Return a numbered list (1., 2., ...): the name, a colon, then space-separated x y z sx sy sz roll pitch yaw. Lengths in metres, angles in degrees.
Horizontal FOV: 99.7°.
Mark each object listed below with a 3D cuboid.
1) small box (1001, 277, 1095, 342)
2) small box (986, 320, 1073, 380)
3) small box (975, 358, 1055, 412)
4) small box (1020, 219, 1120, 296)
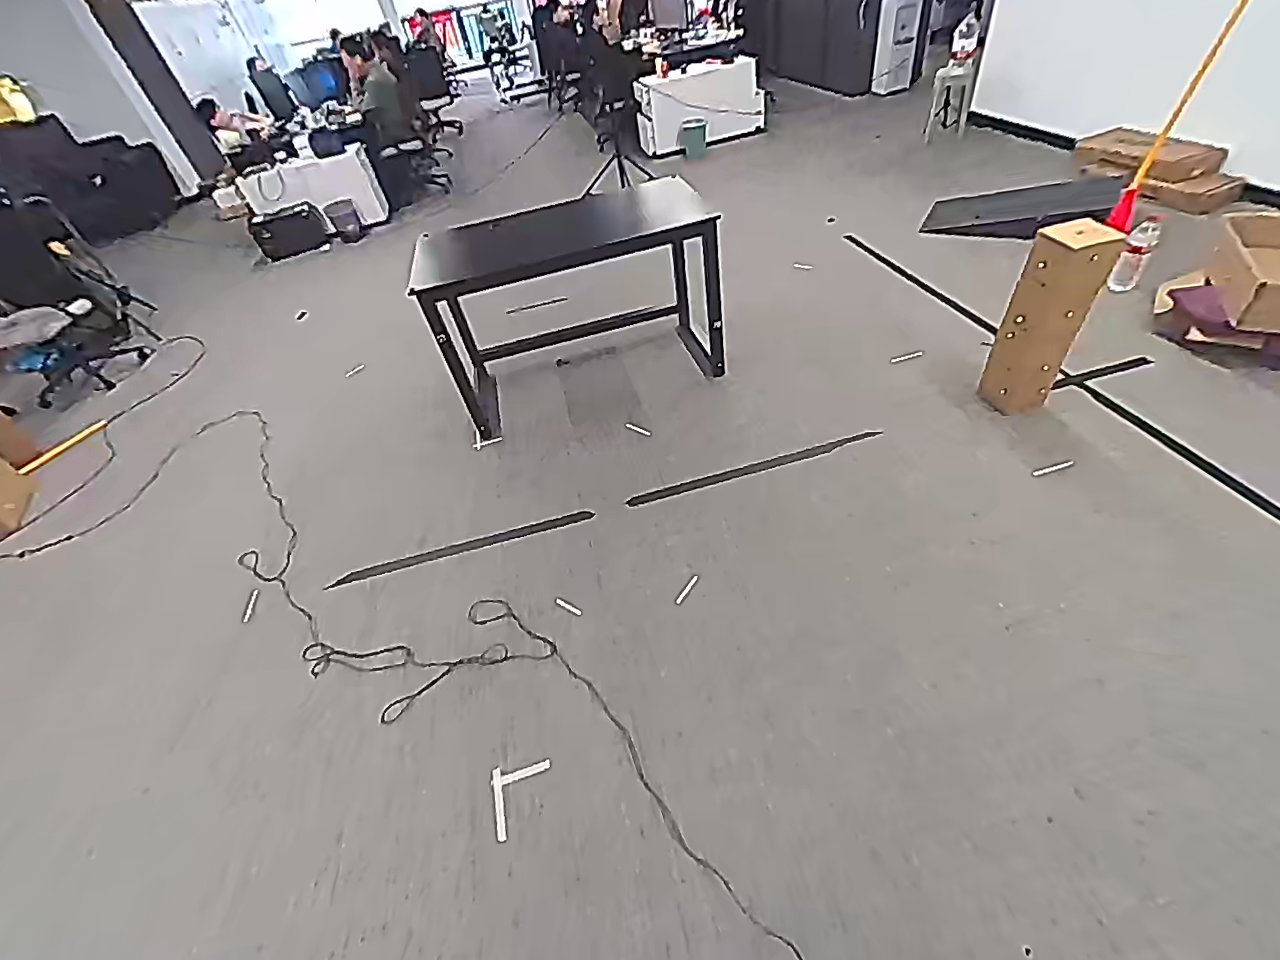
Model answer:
1. small box: 1.409 -0.610 1.882 0.179 0.176 0.168 -18 45 -5
2. small box: 1.432 -0.498 2.001 0.179 0.176 0.168 -17 45 -6
3. small box: 1.459 -0.385 2.117 0.168 0.176 0.179 -16 43 -4
4. small box: 1.386 -0.722 1.764 0.179 0.176 0.168 -14 45 -2
